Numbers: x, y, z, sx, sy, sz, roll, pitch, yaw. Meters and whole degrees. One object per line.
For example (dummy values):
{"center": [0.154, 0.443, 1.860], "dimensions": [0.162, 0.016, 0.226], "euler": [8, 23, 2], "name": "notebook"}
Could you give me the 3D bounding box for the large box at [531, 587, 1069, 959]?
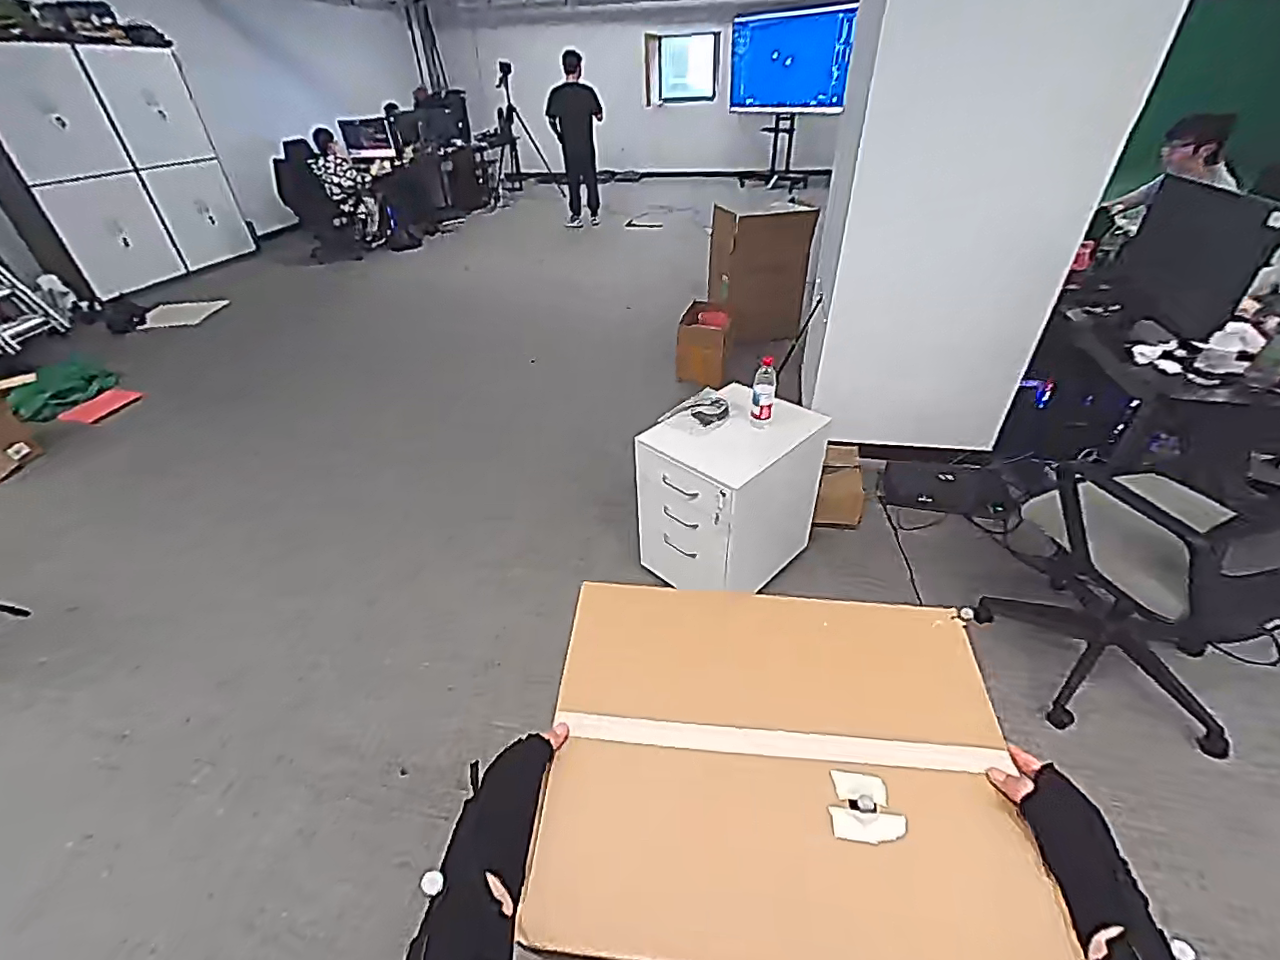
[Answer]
{"center": [0.126, 0.344, 0.605], "dimensions": [0.408, 0.320, 0.320], "euler": [4, 47, 5], "name": "large box"}
